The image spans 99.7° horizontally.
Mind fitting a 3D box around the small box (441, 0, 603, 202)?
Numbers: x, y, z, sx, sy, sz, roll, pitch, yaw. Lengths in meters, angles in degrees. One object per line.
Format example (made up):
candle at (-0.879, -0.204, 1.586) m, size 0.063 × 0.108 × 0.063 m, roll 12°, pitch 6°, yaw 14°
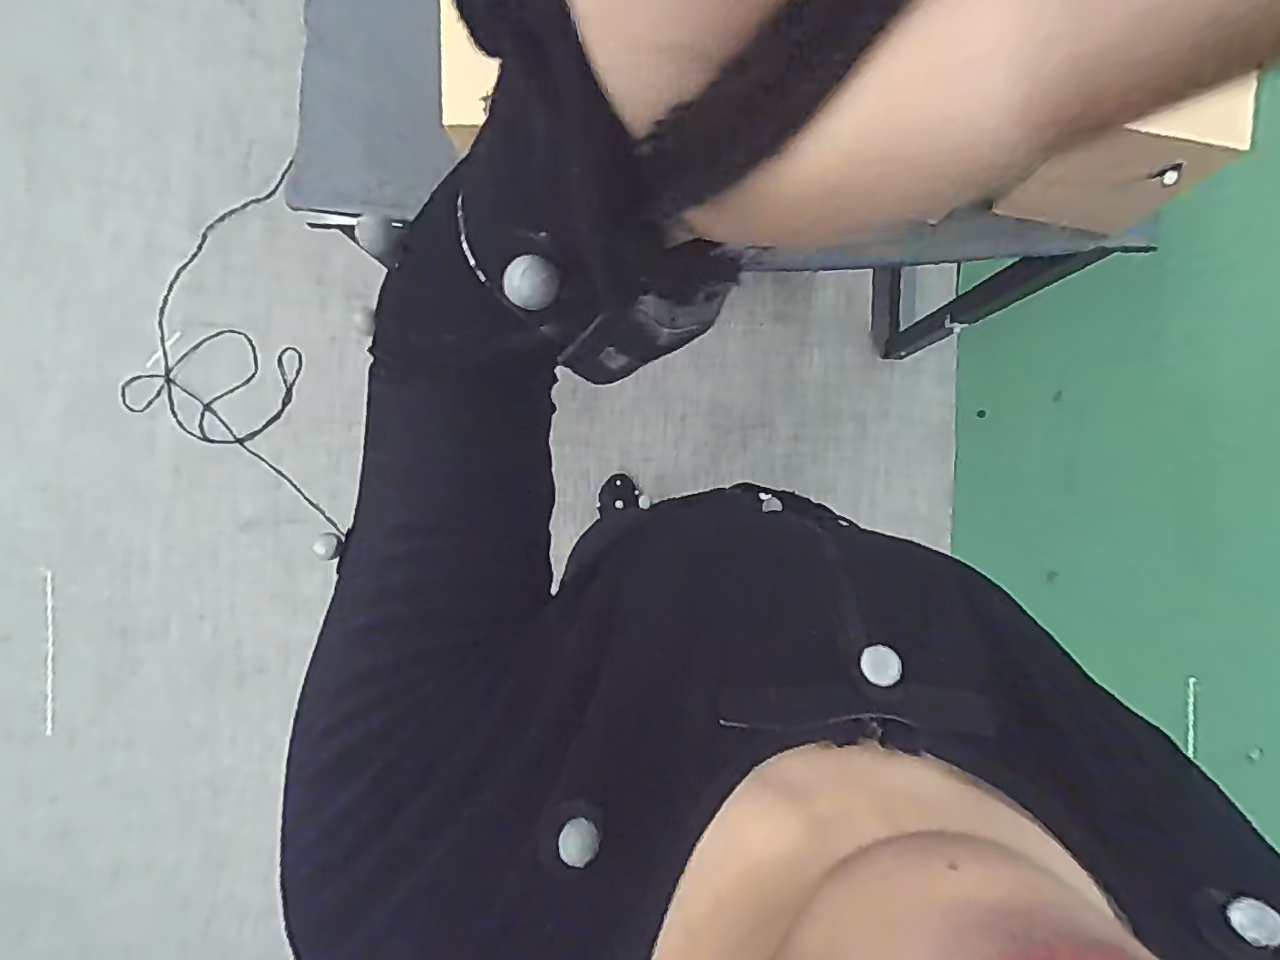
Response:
small box at (-0.139, -0.484, 0.687) m, size 0.168 × 0.176 × 0.179 m, roll 0°, pitch 89°, yaw 2°
